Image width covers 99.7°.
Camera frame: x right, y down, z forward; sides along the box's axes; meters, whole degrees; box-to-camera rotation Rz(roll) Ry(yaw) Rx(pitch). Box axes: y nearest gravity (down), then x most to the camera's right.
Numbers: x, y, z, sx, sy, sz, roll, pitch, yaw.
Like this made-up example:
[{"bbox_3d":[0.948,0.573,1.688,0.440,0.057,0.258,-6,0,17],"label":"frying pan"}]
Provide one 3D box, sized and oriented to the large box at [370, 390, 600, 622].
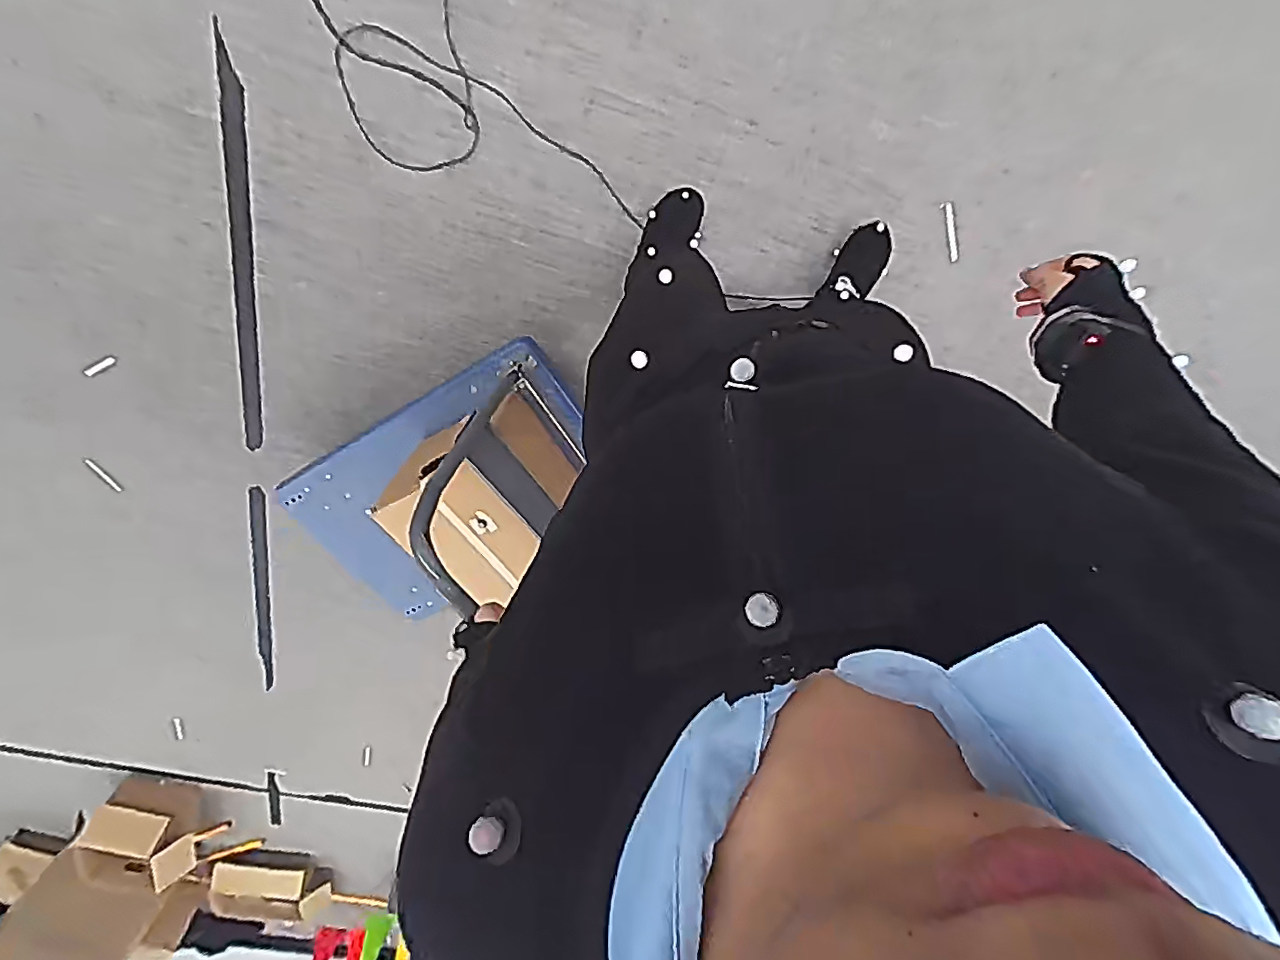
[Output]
[{"bbox_3d":[-0.339,0.063,1.313,0.320,0.320,0.408,-26,118,15],"label":"large box"}]
